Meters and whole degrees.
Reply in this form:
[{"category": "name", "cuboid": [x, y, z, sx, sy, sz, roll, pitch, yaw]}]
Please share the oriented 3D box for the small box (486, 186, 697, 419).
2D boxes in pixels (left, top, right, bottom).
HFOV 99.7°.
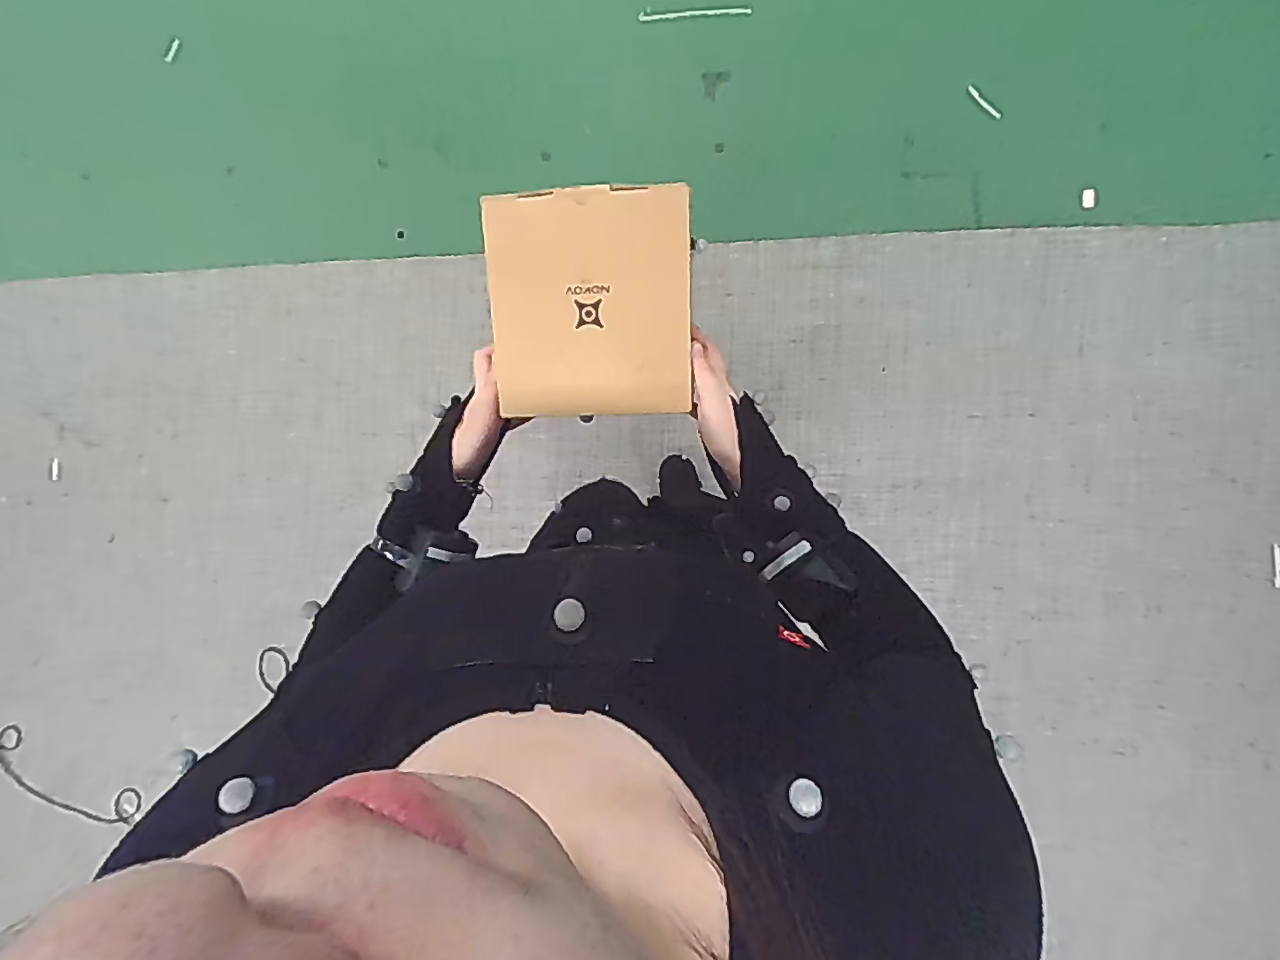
[{"category": "small box", "cuboid": [-0.030, -0.157, 0.512, 0.168, 0.176, 0.179, -1, 103, 6]}]
